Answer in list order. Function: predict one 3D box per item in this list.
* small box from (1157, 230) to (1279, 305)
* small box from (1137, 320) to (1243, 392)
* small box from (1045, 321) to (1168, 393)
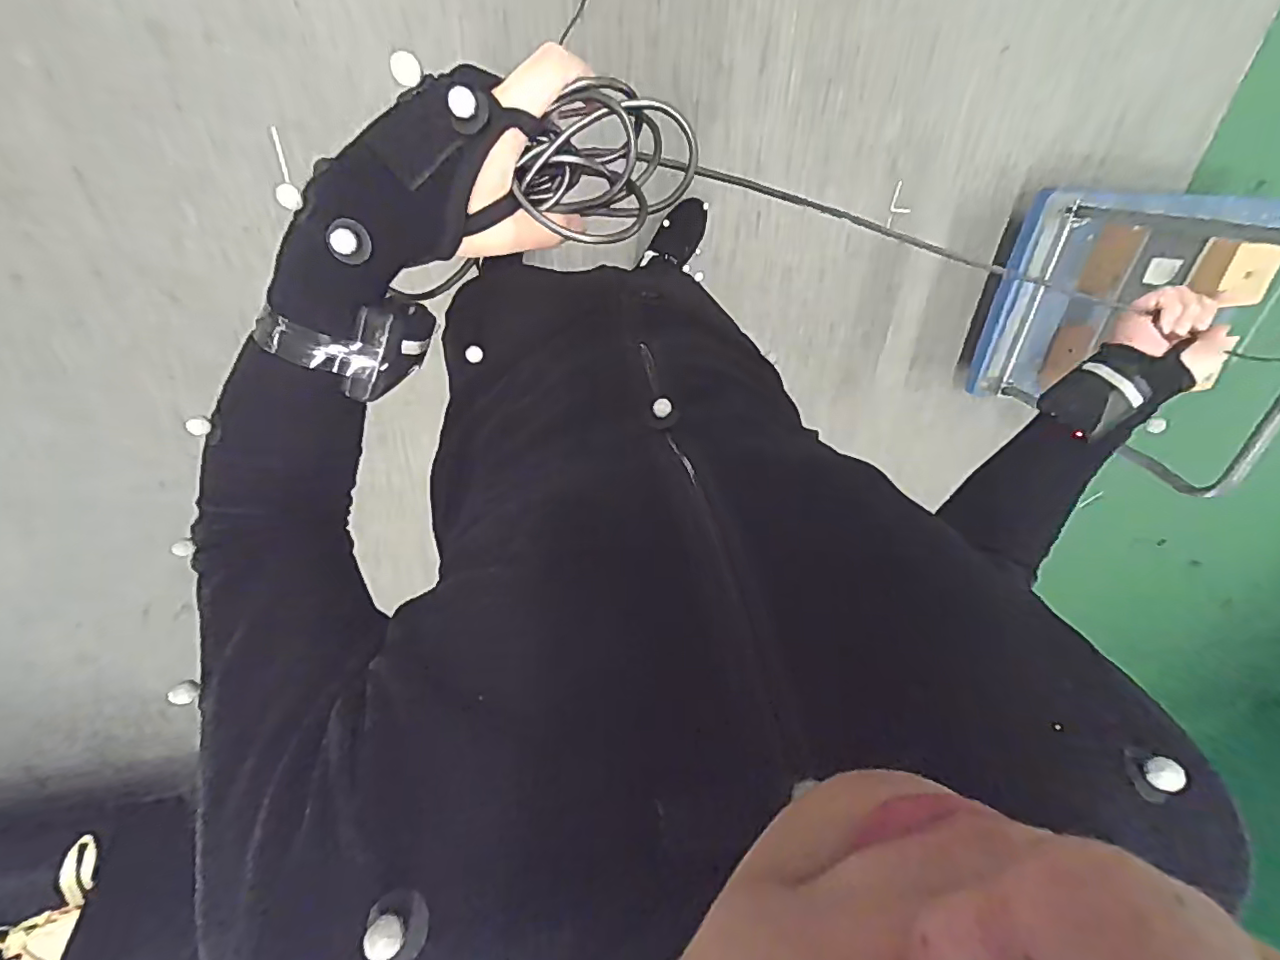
[{"bbox_3d":[1.614,-0.592,1.500,0.179,0.176,0.168,-7,123,-9],"label":"small box"},{"bbox_3d":[1.620,-0.378,1.633,0.179,0.176,0.168,-6,121,-8],"label":"small box"},{"bbox_3d":[1.355,-0.363,1.583,0.179,0.176,0.168,-2,122,-11],"label":"small box"}]
